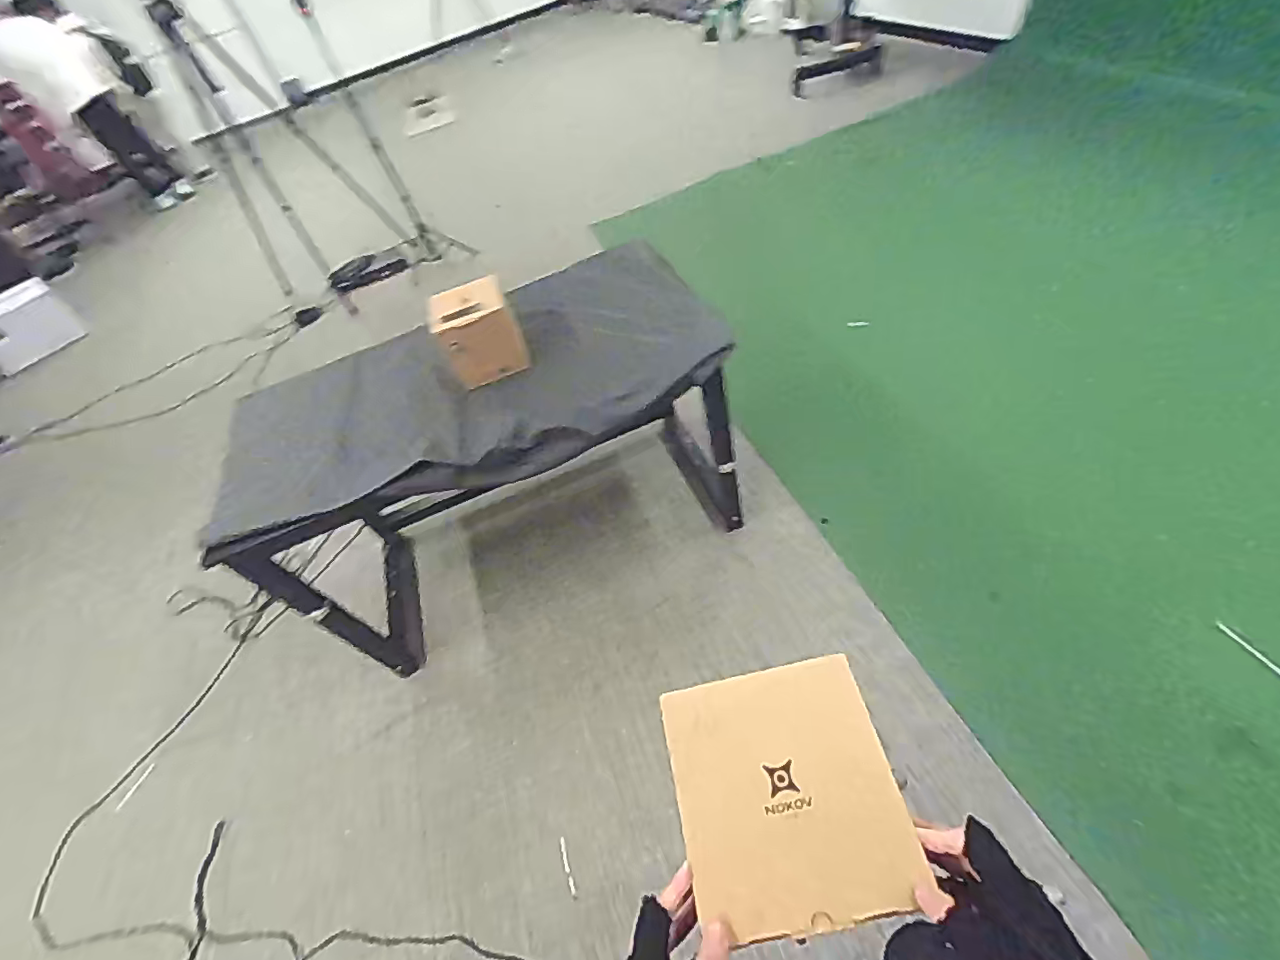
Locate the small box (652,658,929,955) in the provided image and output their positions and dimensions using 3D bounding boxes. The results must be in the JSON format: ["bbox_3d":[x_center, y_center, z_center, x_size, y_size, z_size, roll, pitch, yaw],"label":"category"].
[{"bbox_3d":[0.115,0.284,0.478,0.168,0.176,0.179,-15,53,2],"label":"small box"}]
